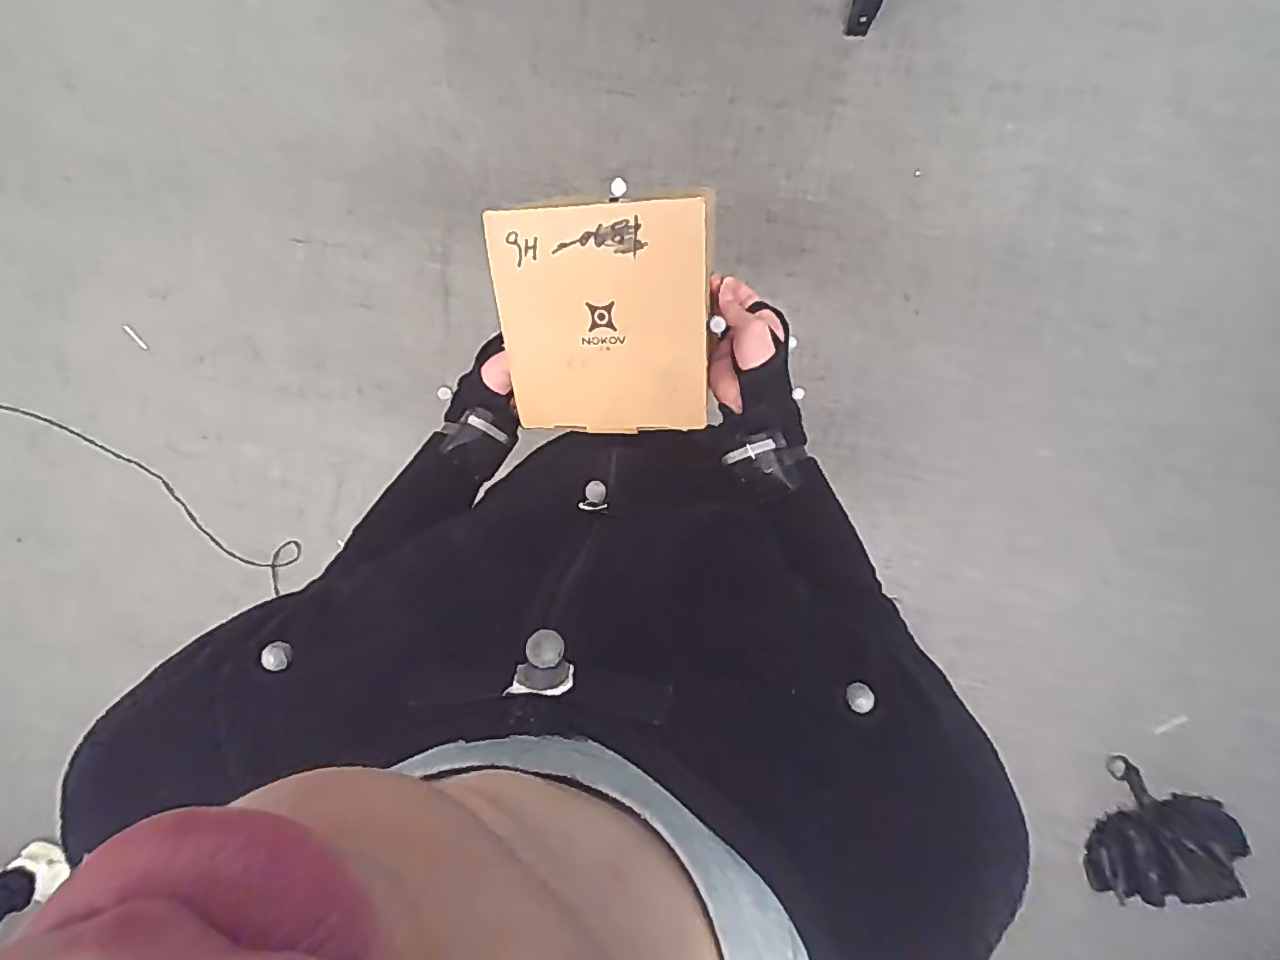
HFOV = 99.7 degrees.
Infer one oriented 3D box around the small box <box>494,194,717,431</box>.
[{"bbox_3d":[-0.015,-0.161,0.506,0.168,0.176,0.179,1,121,8],"label":"small box"}]
